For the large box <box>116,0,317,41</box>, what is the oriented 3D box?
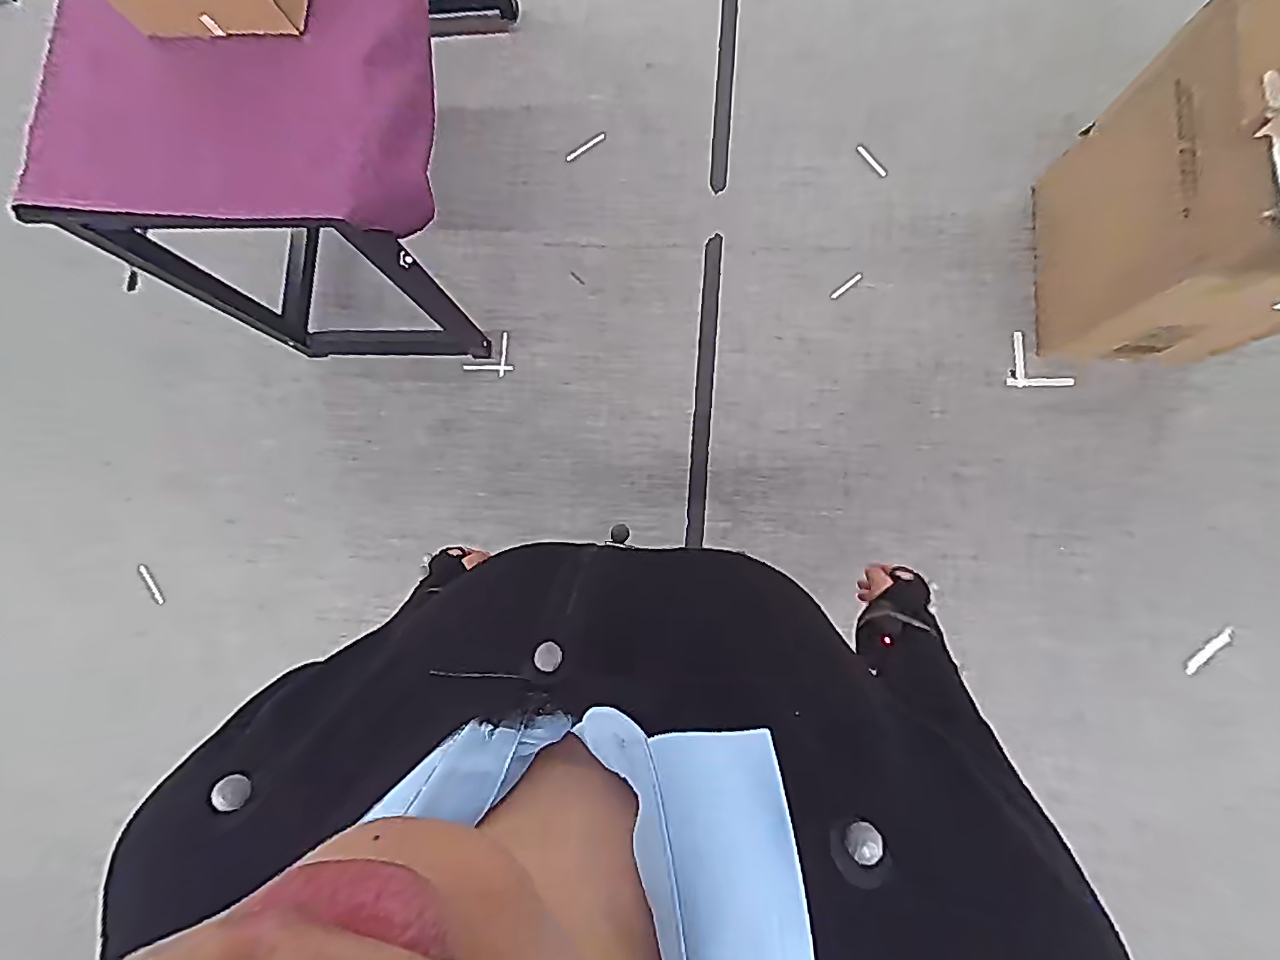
[{"bbox_3d":[-0.718,-0.990,0.823,0.320,0.320,0.408,3,84,7],"label":"large box"}]
